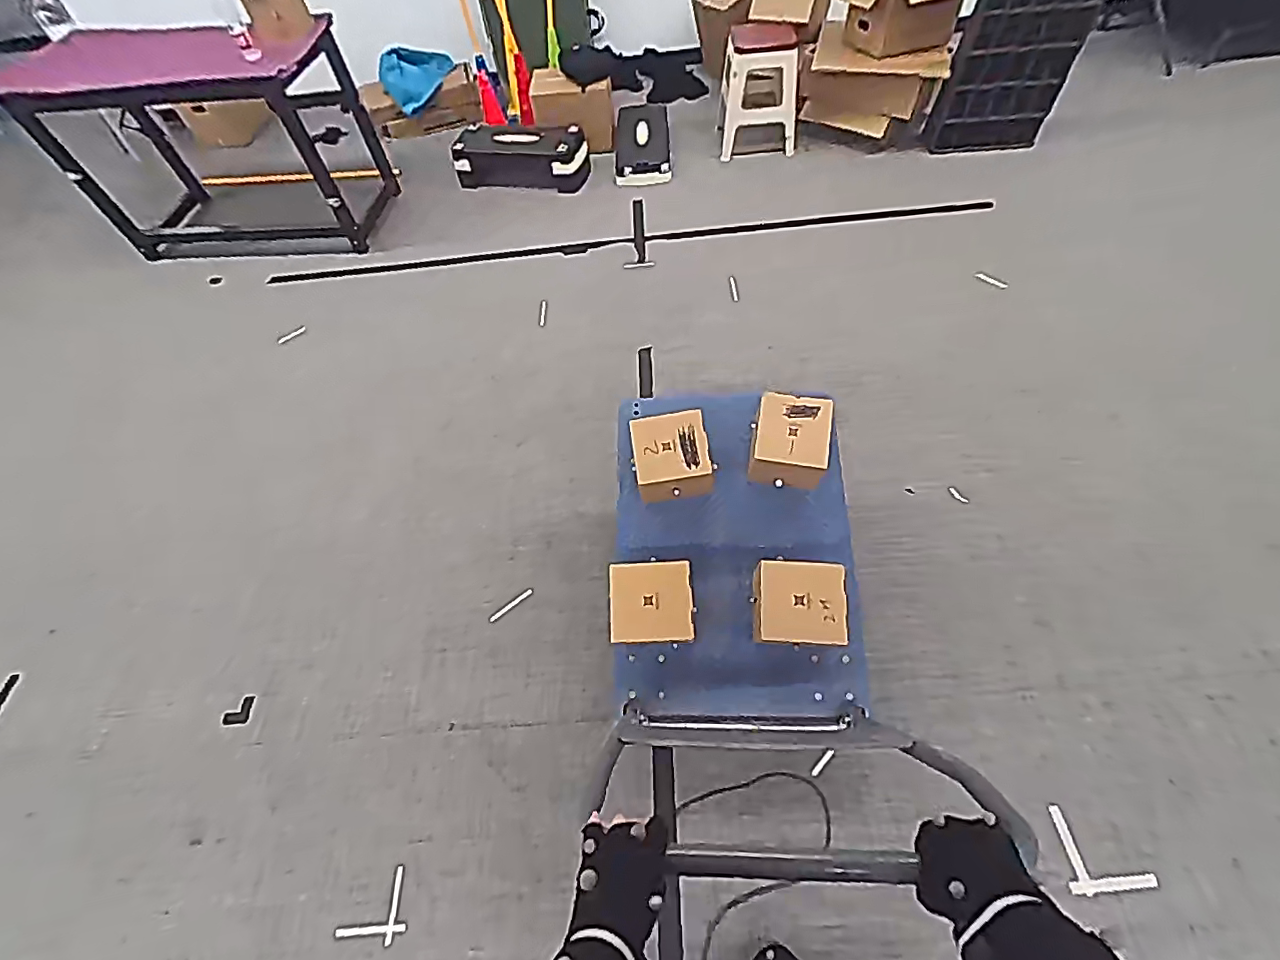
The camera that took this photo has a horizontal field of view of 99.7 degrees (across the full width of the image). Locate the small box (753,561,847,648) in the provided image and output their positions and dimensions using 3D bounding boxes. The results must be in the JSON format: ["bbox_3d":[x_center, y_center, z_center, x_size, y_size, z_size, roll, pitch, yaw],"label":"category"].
[{"bbox_3d":[0.344,0.279,1.193,0.179,0.176,0.168,2,71,6],"label":"small box"}]

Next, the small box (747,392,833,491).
[{"bbox_3d":[0.361,-0.089,1.320,0.168,0.176,0.179,9,73,8],"label":"small box"}]

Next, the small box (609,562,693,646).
[{"bbox_3d":[0.028,0.284,1.220,0.179,0.176,0.168,-3,71,2],"label":"small box"}]
